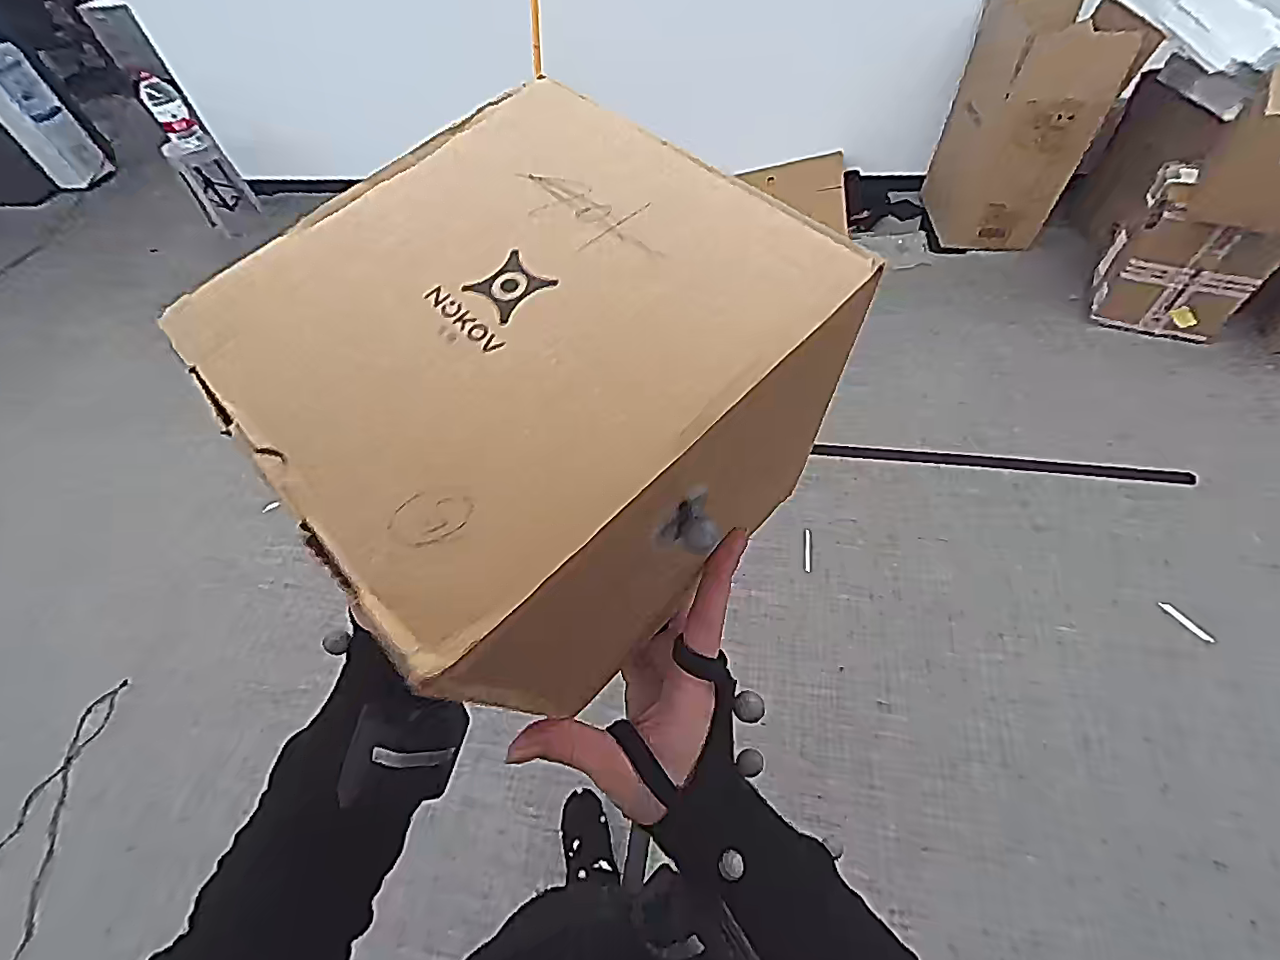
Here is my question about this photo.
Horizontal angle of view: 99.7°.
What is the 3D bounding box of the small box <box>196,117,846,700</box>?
[{"bbox_3d":[-0.038,-0.019,0.259,0.179,0.176,0.168,-43,68,-16],"label":"small box"}]
